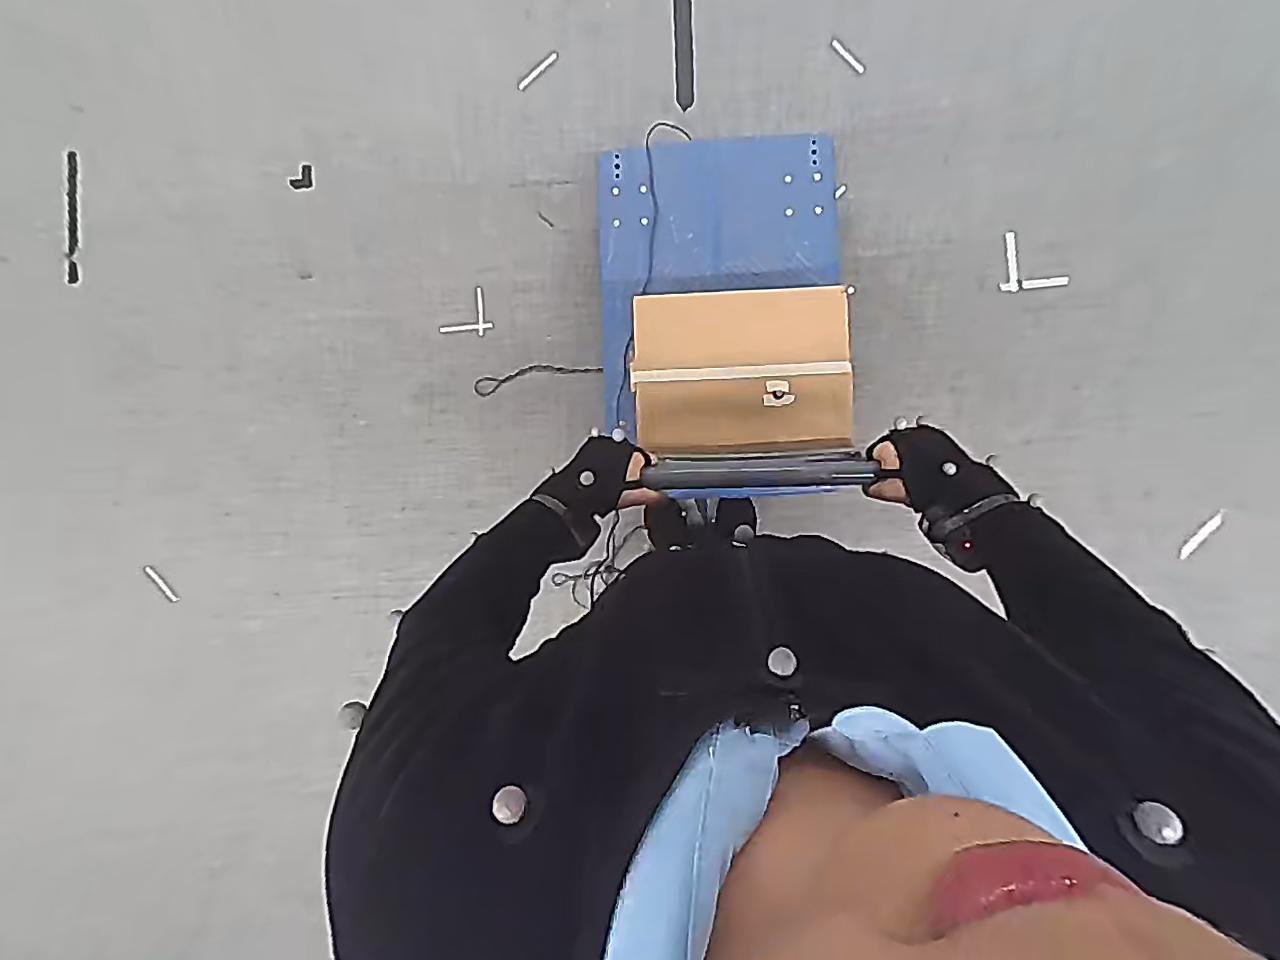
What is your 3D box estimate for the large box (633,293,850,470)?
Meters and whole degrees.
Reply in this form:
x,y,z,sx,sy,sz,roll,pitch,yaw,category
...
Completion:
x,y,z,sx,sy,sz,roll,pitch,yaw,category
0.197,-0.189,1.175,0.408,0.320,0.320,-2,90,3,large box
